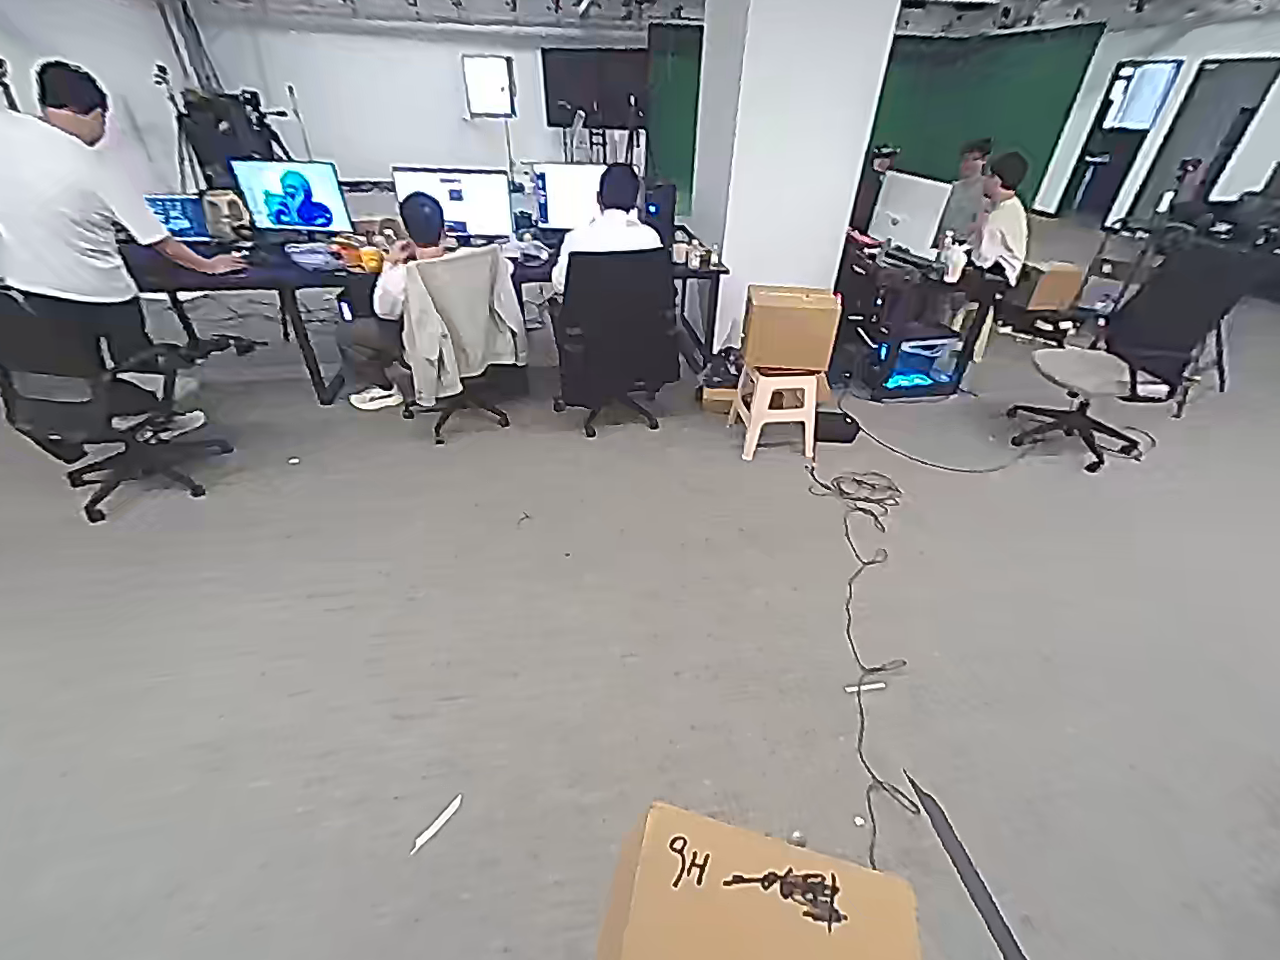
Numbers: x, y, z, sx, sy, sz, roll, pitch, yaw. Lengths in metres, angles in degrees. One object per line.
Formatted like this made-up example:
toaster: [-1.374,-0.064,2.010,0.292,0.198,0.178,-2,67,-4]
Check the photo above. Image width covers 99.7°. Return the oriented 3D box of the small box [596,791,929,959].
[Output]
small box: [0.057,0.325,0.330,0.168,0.176,0.179,16,49,4]
